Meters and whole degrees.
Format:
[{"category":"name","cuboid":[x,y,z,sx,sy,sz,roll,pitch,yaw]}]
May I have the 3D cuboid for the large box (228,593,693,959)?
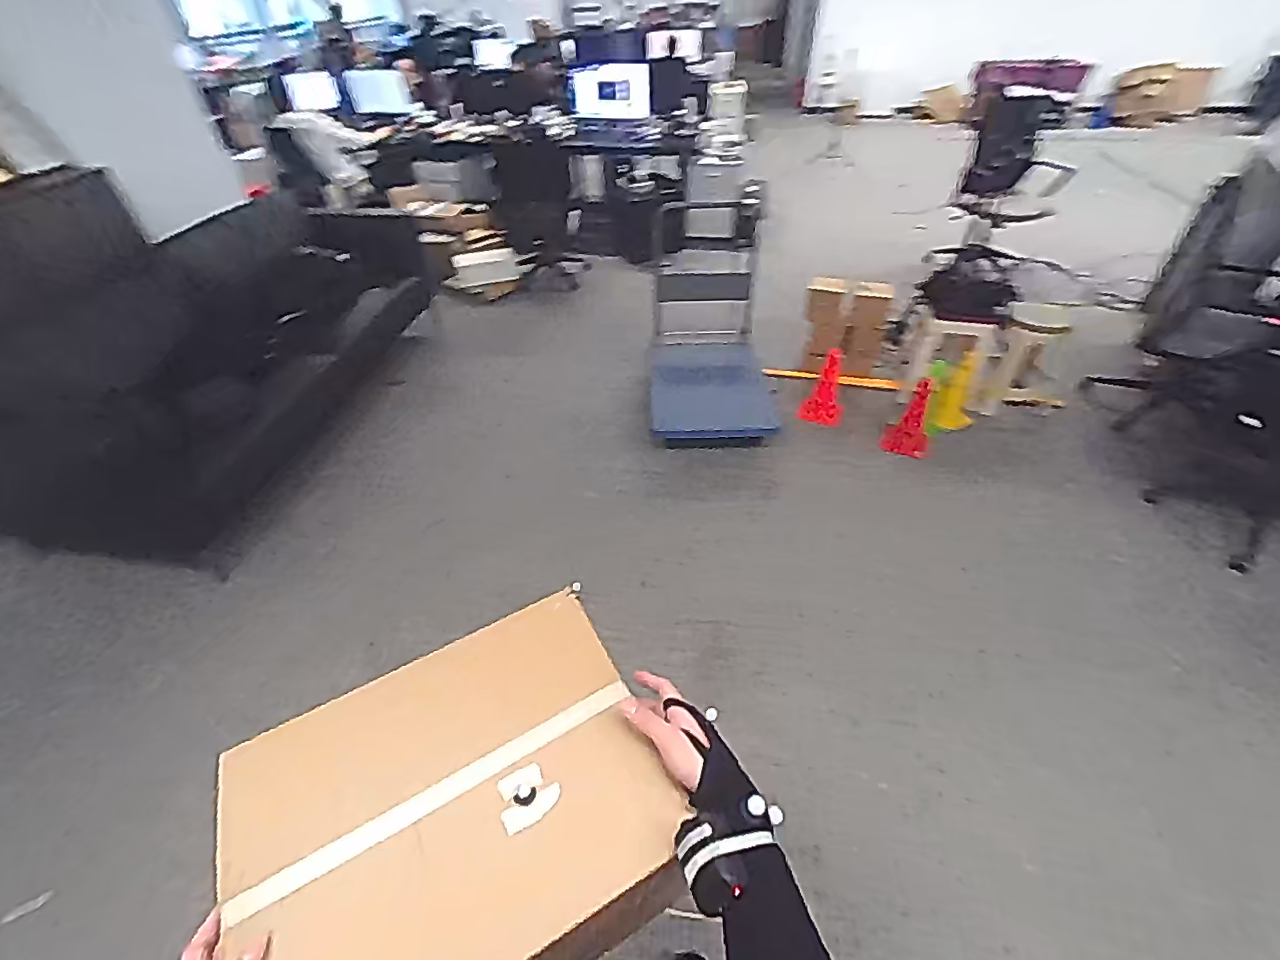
[{"category":"large box","cuboid":[-0.187,0.419,0.653,0.408,0.320,0.320,-24,50,-19]}]
